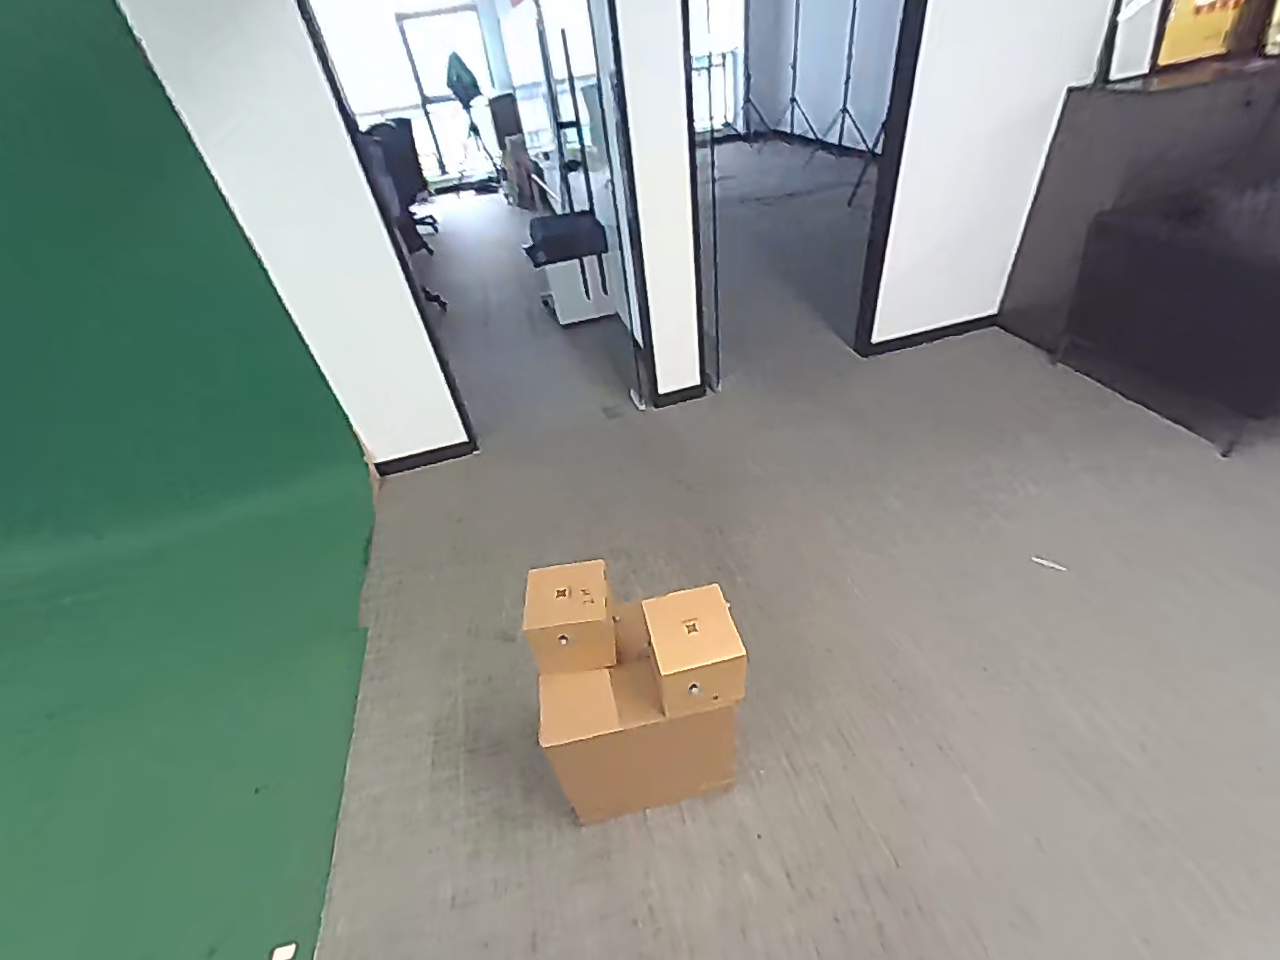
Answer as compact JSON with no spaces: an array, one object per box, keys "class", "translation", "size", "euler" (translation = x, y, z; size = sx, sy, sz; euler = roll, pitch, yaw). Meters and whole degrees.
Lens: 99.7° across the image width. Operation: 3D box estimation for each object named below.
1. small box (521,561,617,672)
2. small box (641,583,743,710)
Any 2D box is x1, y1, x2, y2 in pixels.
[{"class":"small box","translation":[-0.151,0.307,1.201],"size":[0.179,0.176,0.168],"euler":[-7,39,0]},{"class":"small box","translation":[0.106,0.346,1.106],"size":[0.168,0.176,0.179],"euler":[-13,40,-6]}]
